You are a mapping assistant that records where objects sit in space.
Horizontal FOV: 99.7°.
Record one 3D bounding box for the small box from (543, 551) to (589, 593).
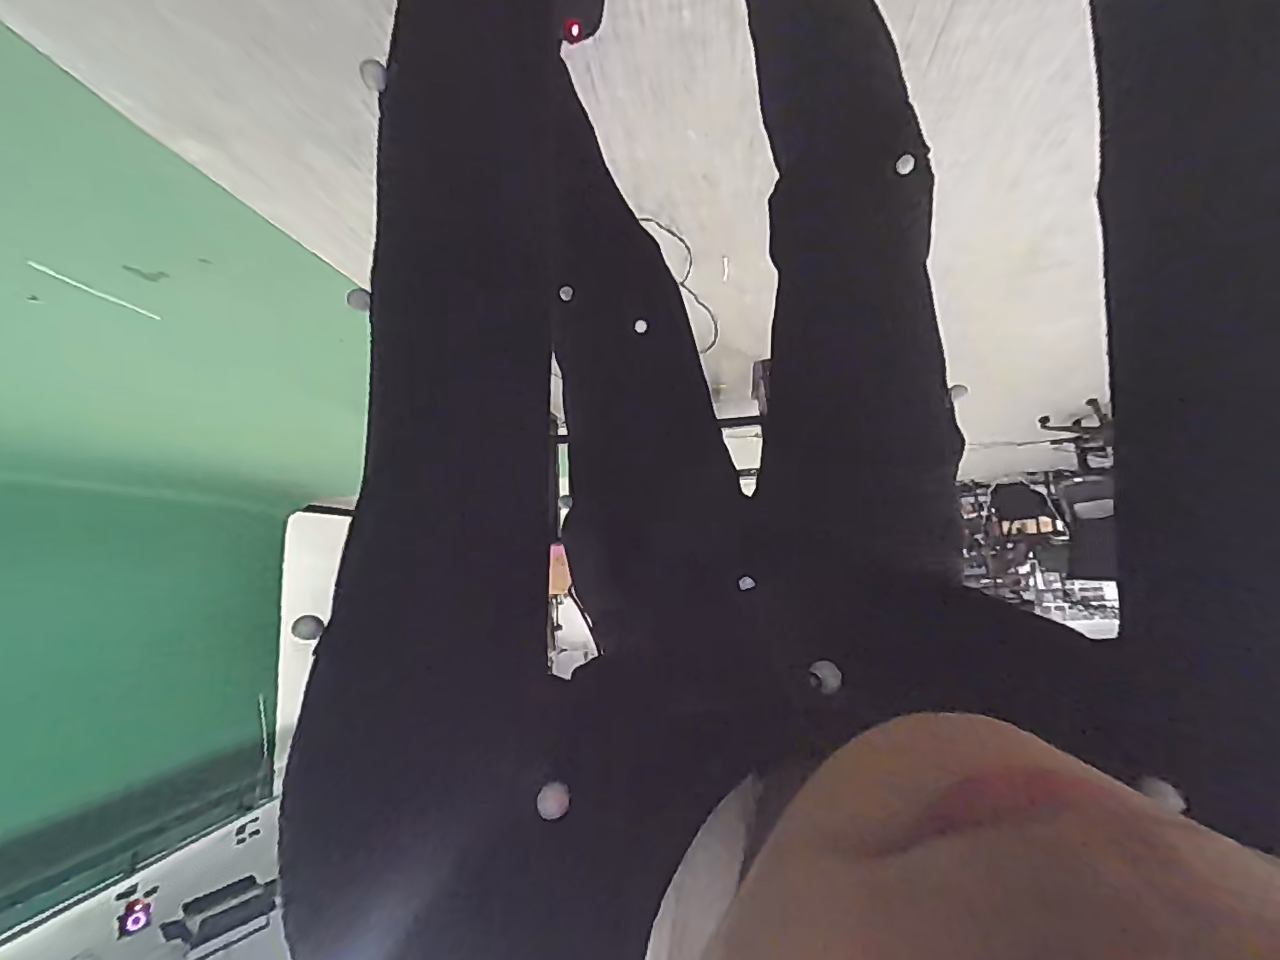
[{"bbox_3d":[-0.322,0.399,2.373,0.168,0.176,0.179,-5,172,7],"label":"small box"}]
